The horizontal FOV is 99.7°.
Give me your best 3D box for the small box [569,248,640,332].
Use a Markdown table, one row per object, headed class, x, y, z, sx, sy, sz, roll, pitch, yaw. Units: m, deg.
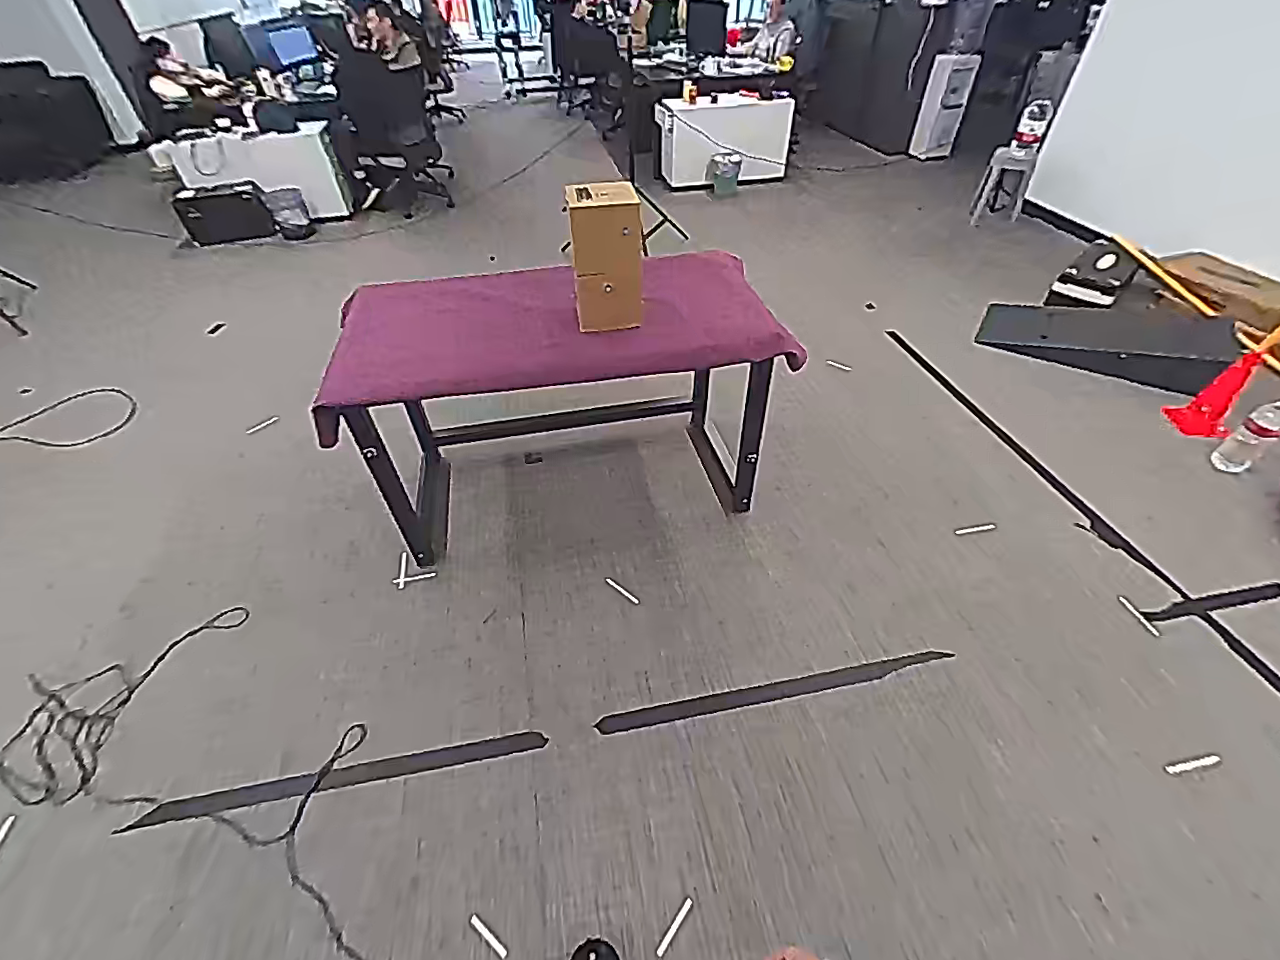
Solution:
| class | x | y | z | sx | sy | sz | roll | pitch | yaw |
| --- | --- | --- | --- | --- | --- | --- | --- | --- | --- |
| small box | -0.097 | -0.531 | 1.519 | 0.179 | 0.176 | 0.168 | -7 | 45 | -6 |
